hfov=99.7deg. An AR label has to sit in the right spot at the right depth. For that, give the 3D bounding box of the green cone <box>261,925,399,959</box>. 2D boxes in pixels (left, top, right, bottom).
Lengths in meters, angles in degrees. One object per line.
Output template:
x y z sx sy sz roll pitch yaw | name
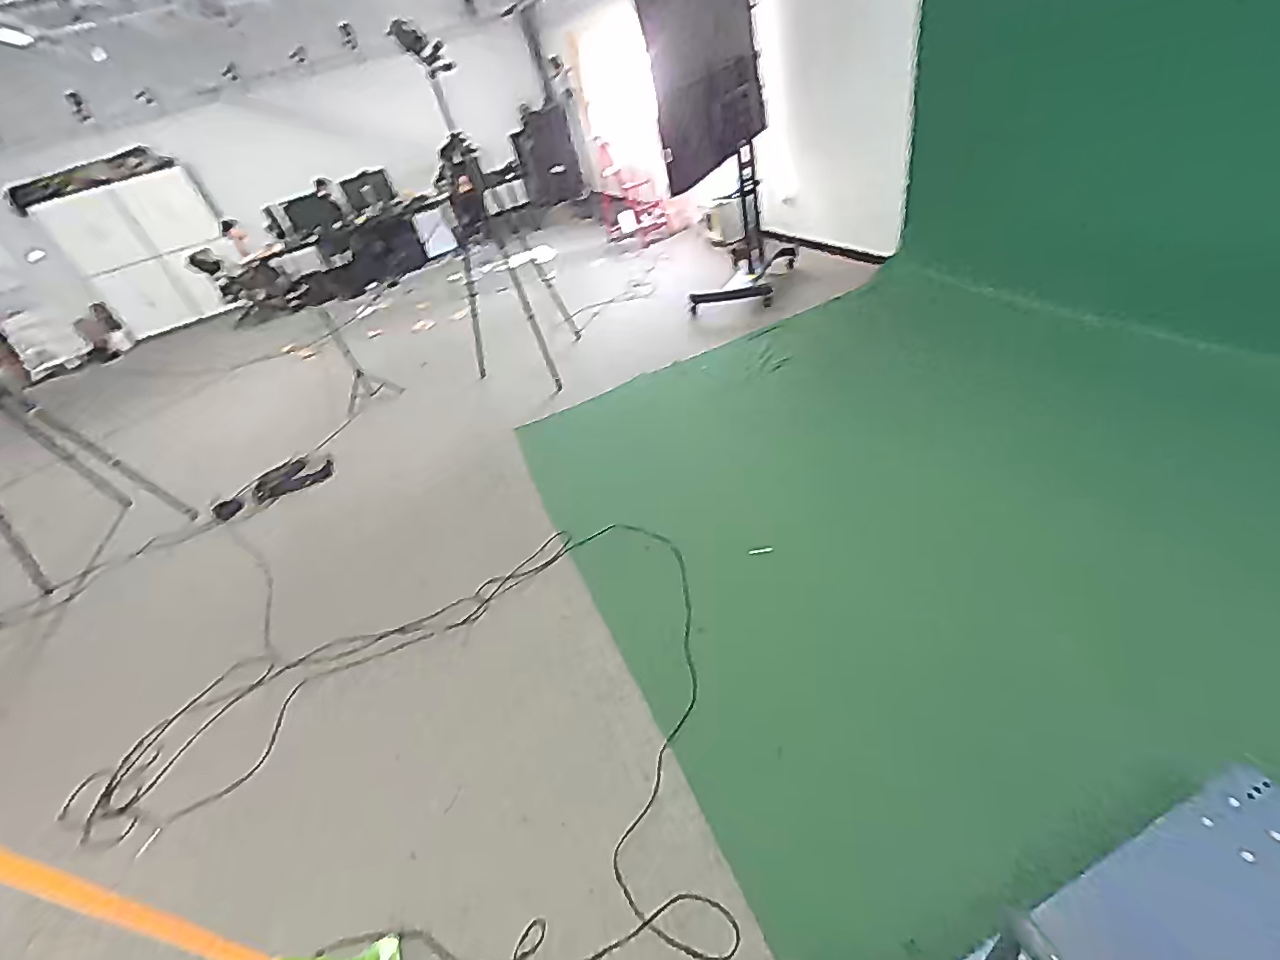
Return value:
-0.738 1.142 1.250 0.200 0.368 0.202 -27 37 -14 | green cone
